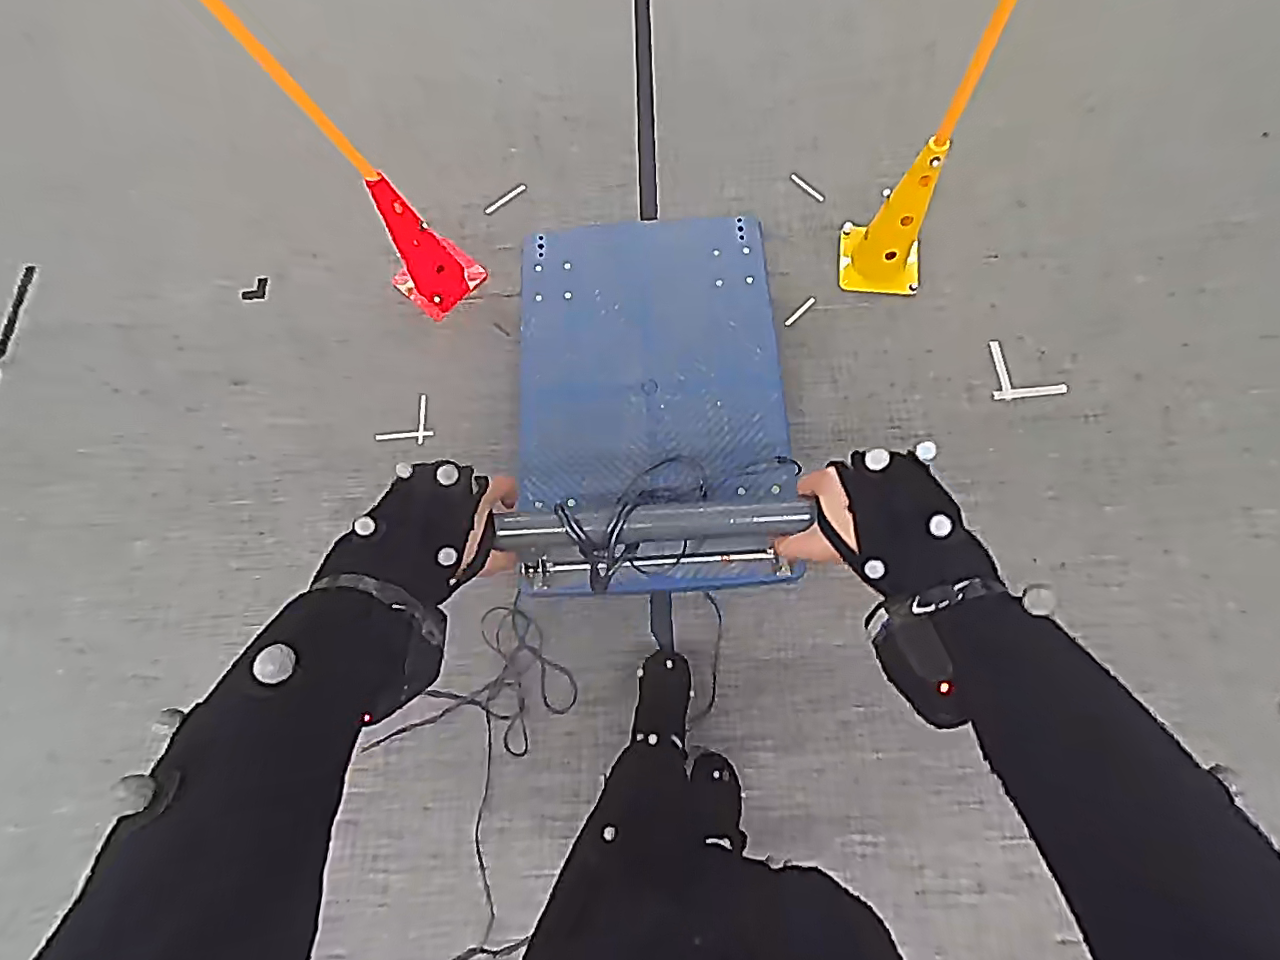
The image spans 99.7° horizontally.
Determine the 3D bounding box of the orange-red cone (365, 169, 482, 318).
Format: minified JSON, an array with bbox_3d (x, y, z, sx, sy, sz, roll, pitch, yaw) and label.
[{"bbox_3d":[-0.566,-0.605,1.328,0.198,0.360,0.199,42,79,12],"label":"orange-red cone"}]
